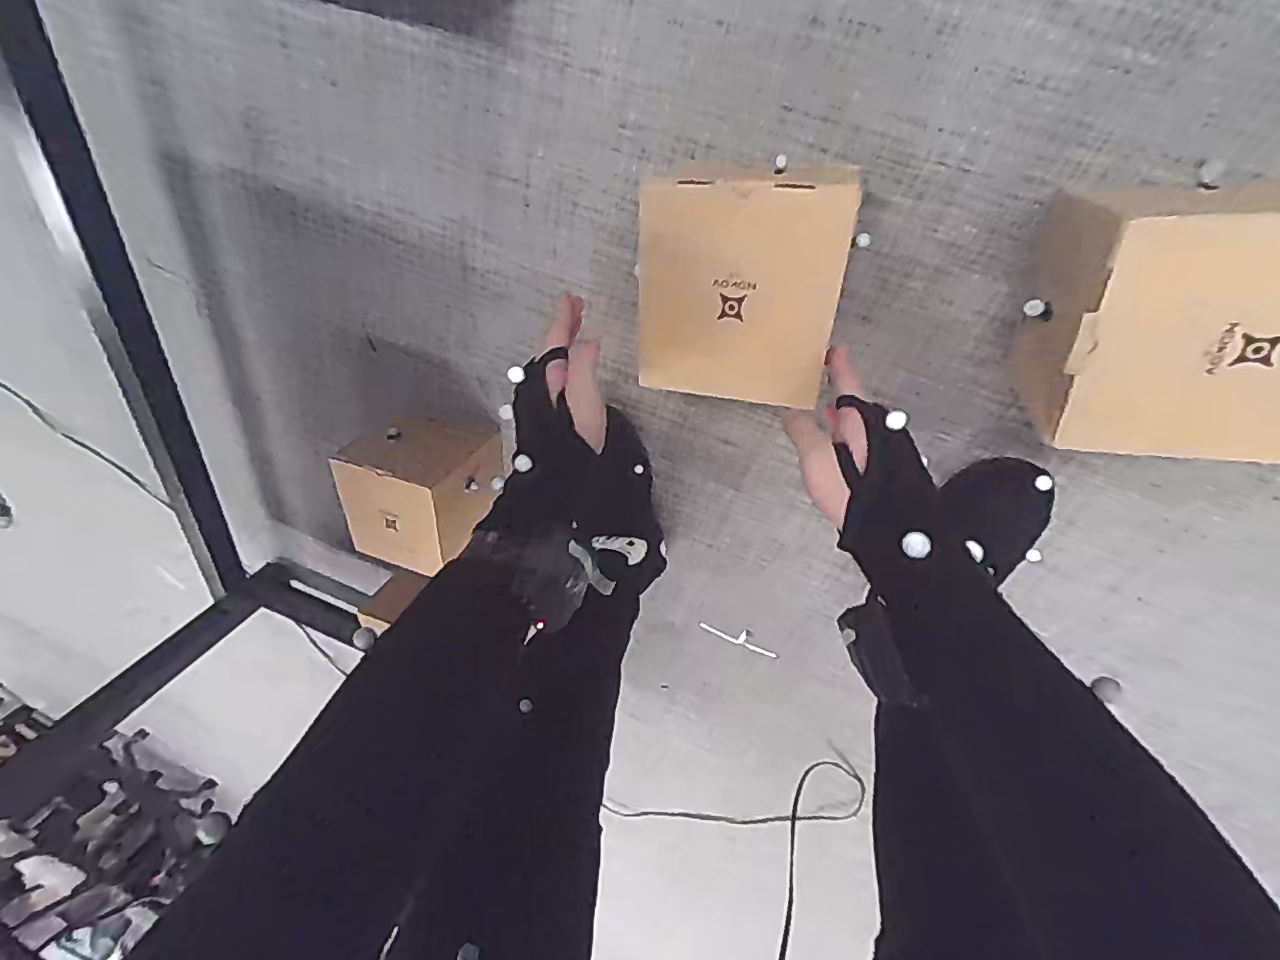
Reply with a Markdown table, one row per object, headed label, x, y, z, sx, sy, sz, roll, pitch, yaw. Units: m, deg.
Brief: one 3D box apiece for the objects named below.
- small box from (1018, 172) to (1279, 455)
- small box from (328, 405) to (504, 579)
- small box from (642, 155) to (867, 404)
| label | x | y | z | sx | sy | sz | roll | pitch | yaw |
| --- | --- | --- | --- | --- | --- | --- | --- | --- | --- |
| small box | 0.421 | -0.134 | 0.413 | 0.179 | 0.176 | 0.168 | 7 | 124 | 19 |
| small box | -0.317 | 0.010 | 0.804 | 0.168 | 0.176 | 0.179 | 16 | 126 | 13 |
| small box | 0.106 | -0.194 | 0.503 | 0.168 | 0.176 | 0.179 | 11 | 125 | 15 |
